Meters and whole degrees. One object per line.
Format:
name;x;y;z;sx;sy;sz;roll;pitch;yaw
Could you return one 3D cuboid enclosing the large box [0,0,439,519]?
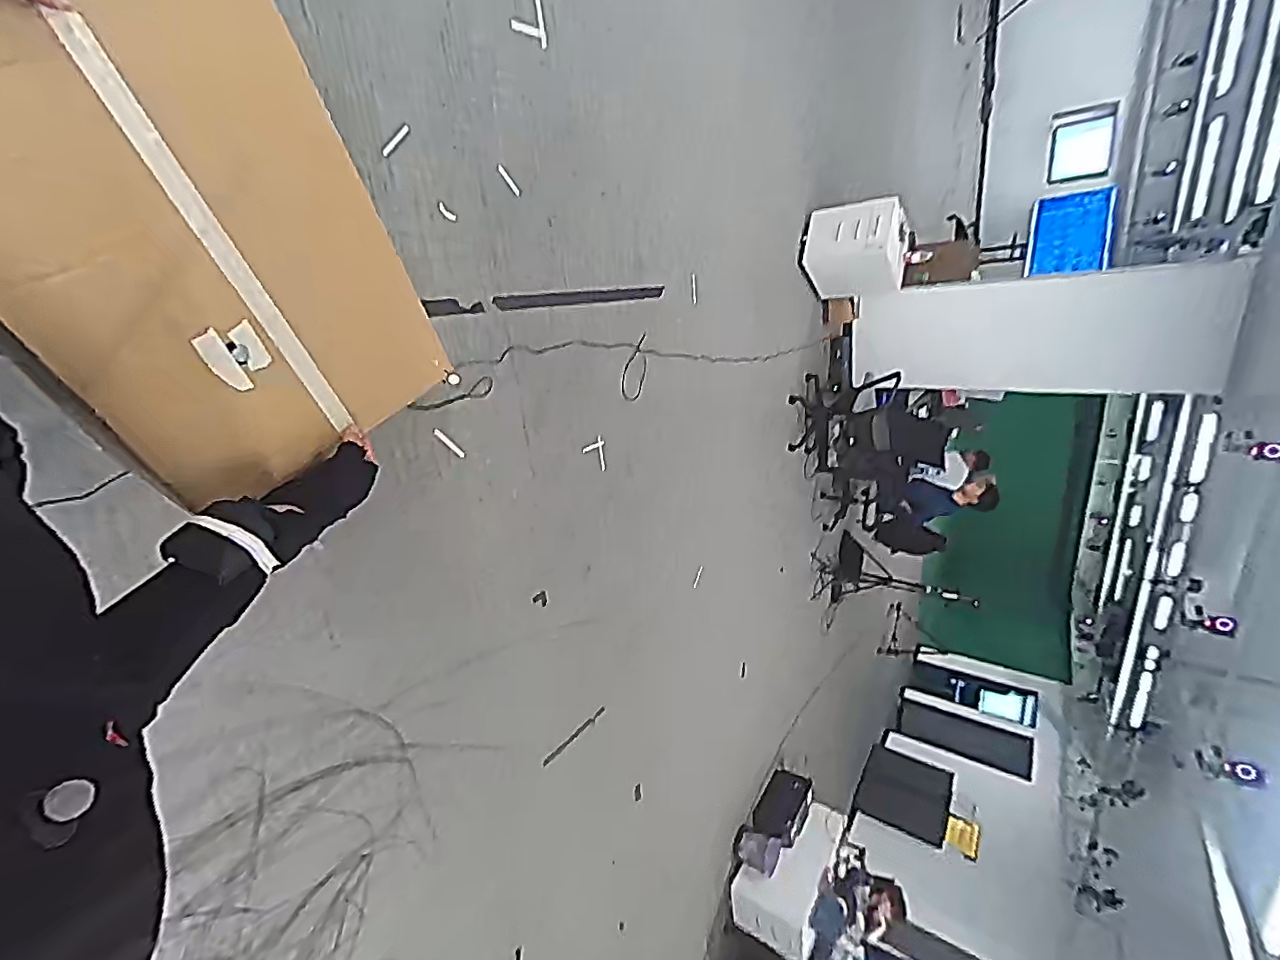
large box;-0.506;-0.233;0.574;0.320;0.320;0.408;-48;140;-34
